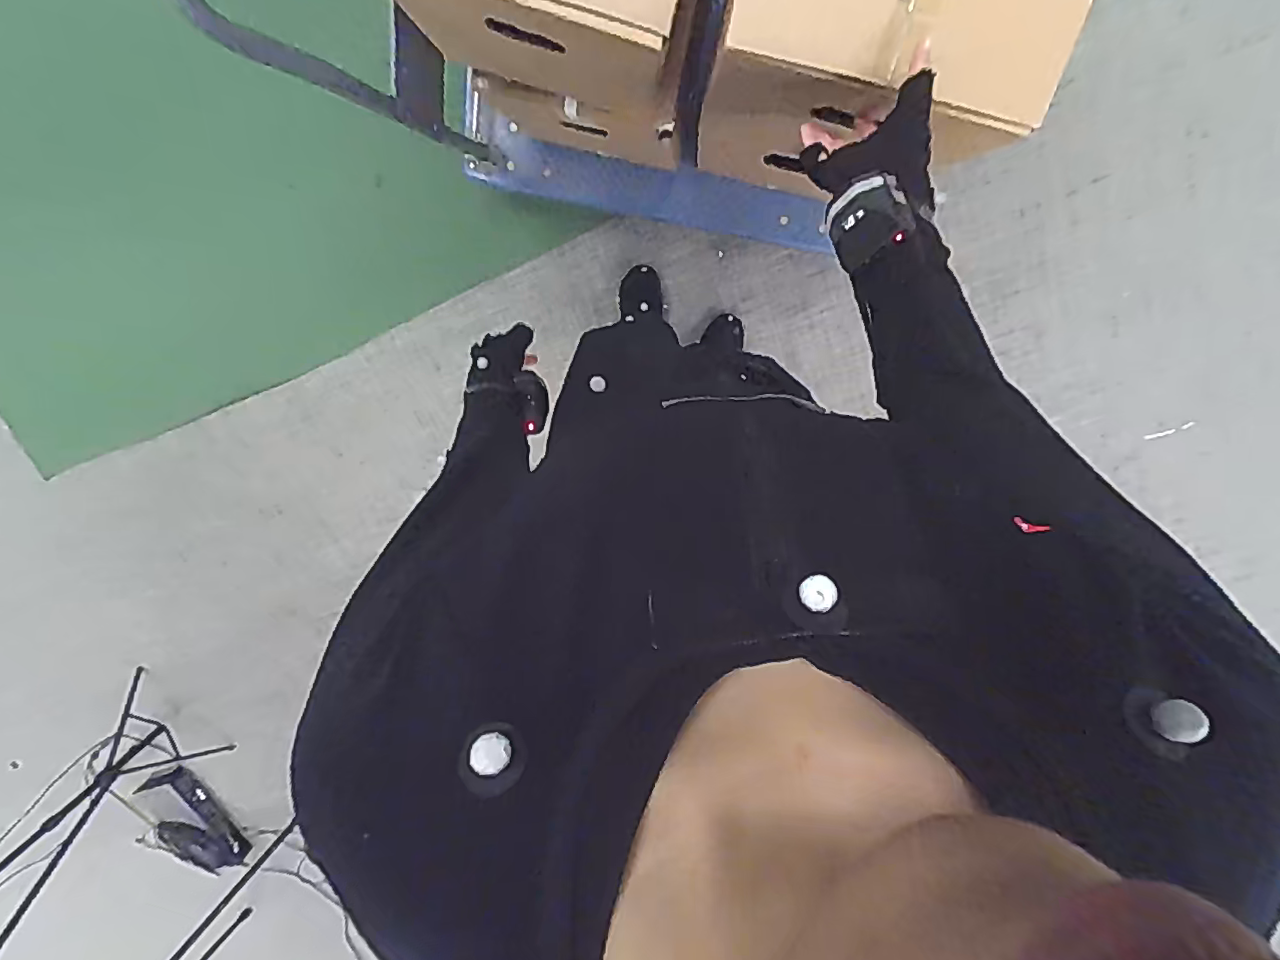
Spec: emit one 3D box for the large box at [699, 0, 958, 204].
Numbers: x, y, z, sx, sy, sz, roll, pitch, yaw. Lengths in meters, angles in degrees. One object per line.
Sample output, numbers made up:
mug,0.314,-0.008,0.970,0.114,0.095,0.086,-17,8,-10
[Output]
large box,0.290,-0.713,0.878,0.320,0.320,0.408,14,113,2
